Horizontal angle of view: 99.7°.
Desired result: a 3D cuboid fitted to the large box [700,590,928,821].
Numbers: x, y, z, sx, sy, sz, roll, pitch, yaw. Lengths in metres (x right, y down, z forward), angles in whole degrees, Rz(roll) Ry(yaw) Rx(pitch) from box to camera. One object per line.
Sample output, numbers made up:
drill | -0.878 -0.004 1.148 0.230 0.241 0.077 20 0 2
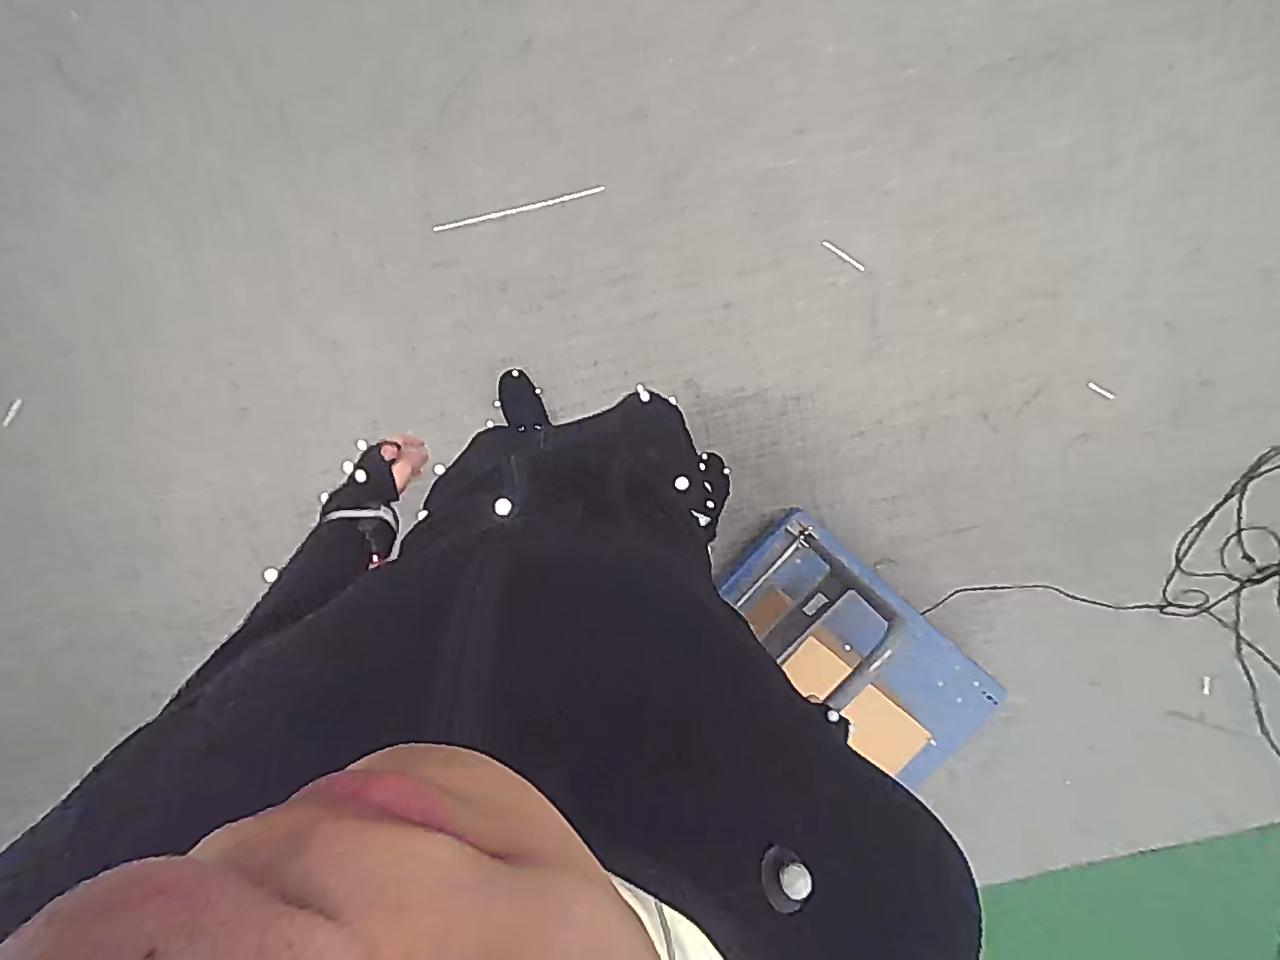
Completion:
large box | 0.421 0.558 1.401 0.408 0.320 0.320 39 97 -8
